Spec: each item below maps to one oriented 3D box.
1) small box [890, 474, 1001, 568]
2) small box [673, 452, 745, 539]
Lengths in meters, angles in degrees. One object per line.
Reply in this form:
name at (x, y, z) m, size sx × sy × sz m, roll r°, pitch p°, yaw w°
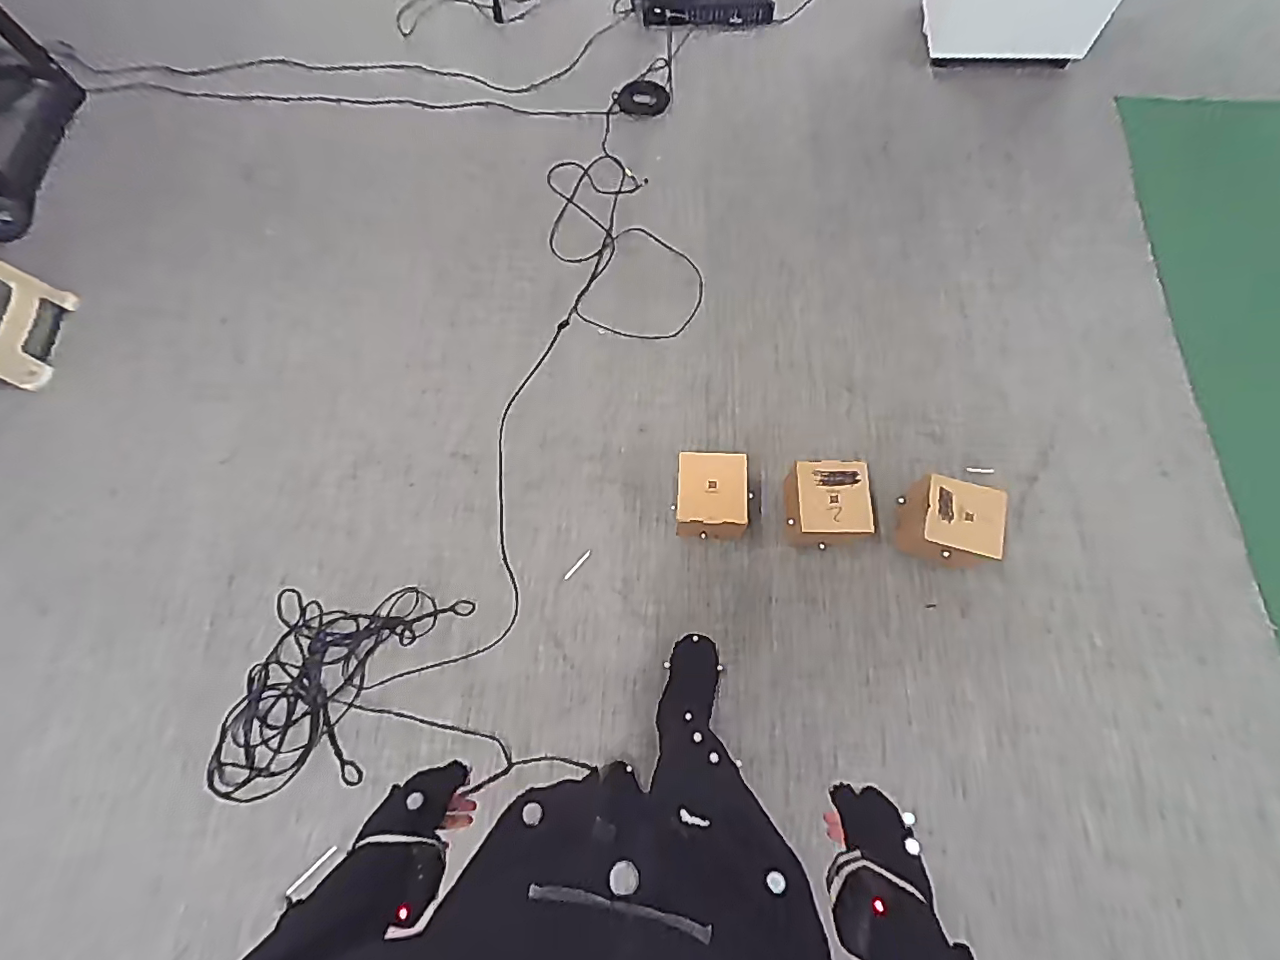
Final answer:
small box at (0.735, 0.106, 1.315) m, size 0.179 × 0.176 × 0.168 m, roll 16°, pitch 73°, yaw 6°
small box at (0.170, 0.041, 1.365) m, size 0.168 × 0.176 × 0.179 m, roll 2°, pitch 71°, yaw 3°
